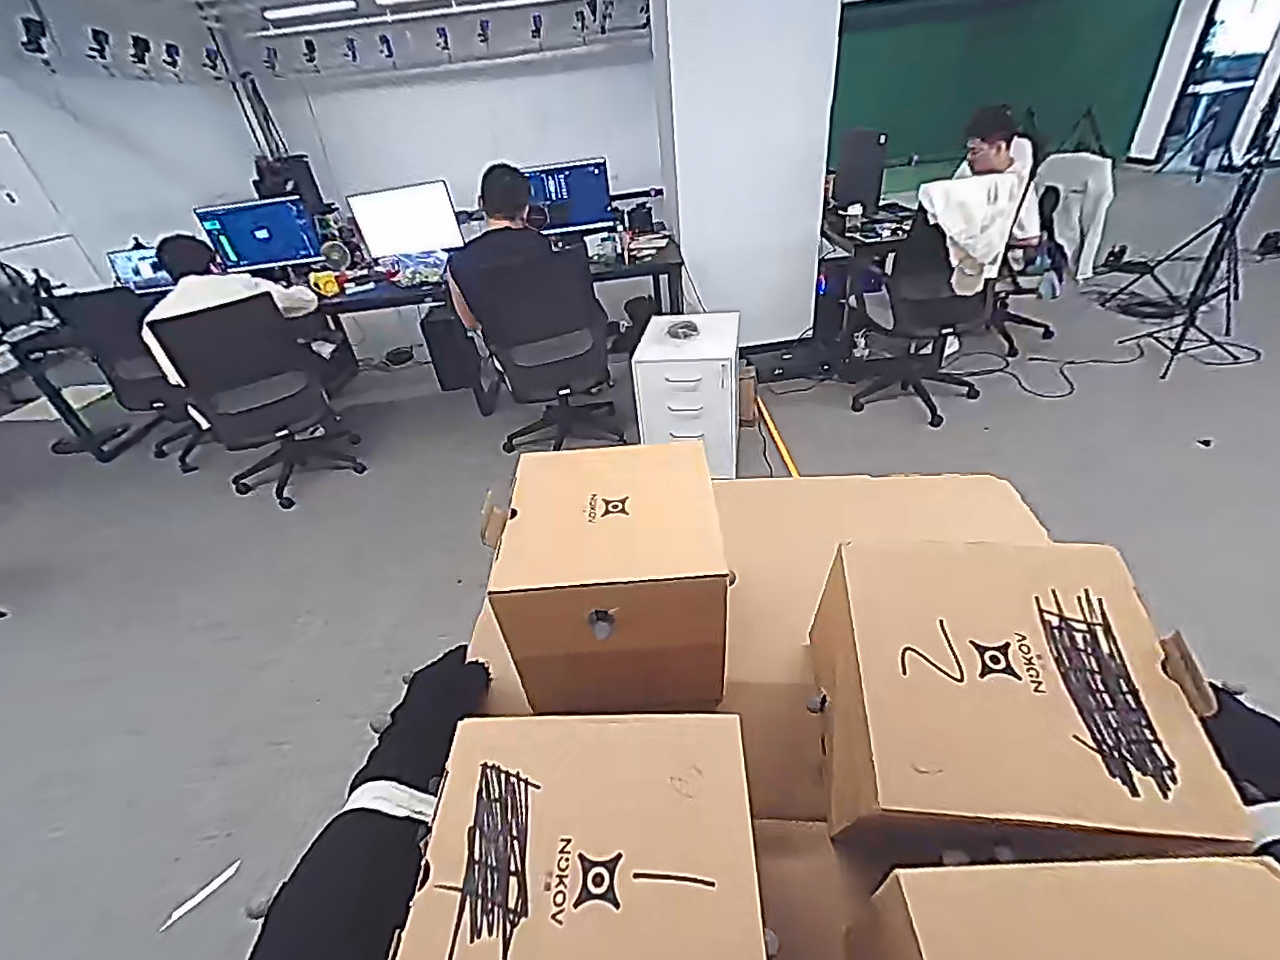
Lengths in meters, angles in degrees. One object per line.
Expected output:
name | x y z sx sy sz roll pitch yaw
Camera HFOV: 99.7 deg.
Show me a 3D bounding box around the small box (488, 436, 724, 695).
small box | -0.020 0.080 0.504 0.179 0.176 0.168 -5 39 3
